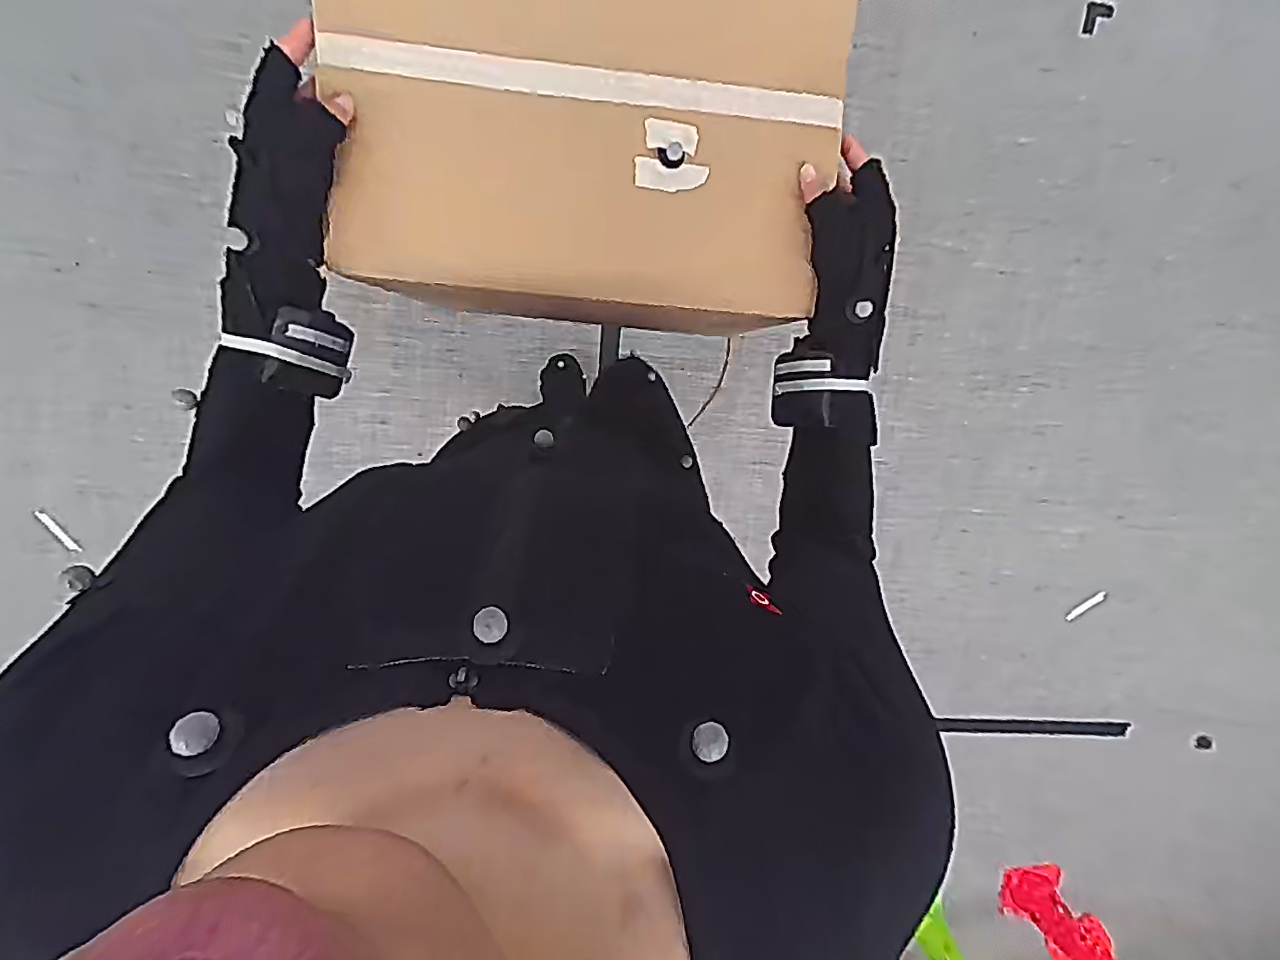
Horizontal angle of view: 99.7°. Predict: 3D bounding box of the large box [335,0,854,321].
[{"bbox_3d":[-0.046,-0.350,0.571,0.408,0.320,0.320,3,103,-6],"label":"large box"}]
